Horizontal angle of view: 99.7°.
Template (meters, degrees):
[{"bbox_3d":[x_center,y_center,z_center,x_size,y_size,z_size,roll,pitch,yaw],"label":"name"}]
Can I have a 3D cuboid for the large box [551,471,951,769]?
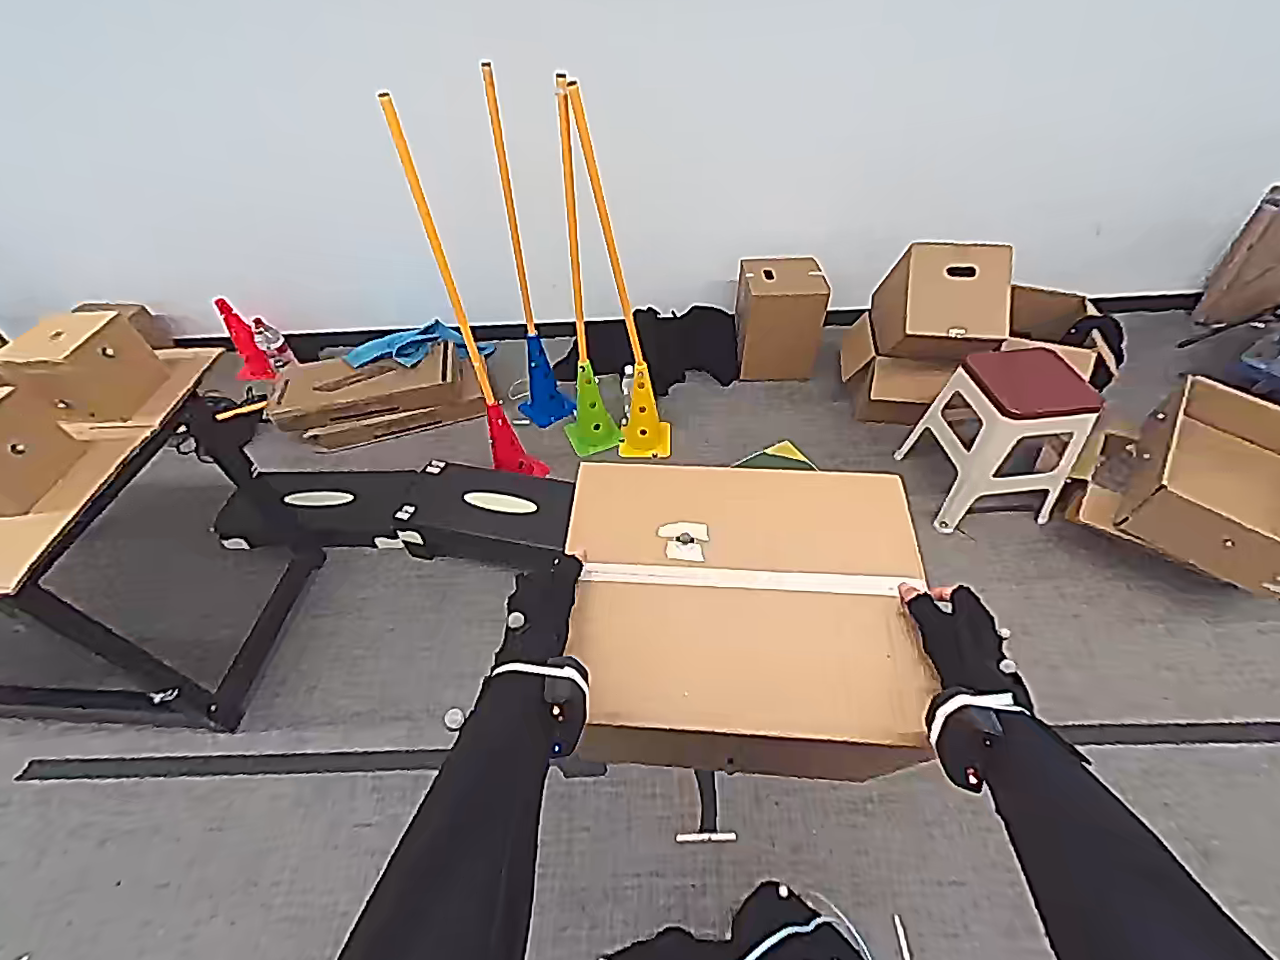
[{"bbox_3d":[0.122,0.202,0.741,0.408,0.320,0.320,2,55,4],"label":"large box"}]
